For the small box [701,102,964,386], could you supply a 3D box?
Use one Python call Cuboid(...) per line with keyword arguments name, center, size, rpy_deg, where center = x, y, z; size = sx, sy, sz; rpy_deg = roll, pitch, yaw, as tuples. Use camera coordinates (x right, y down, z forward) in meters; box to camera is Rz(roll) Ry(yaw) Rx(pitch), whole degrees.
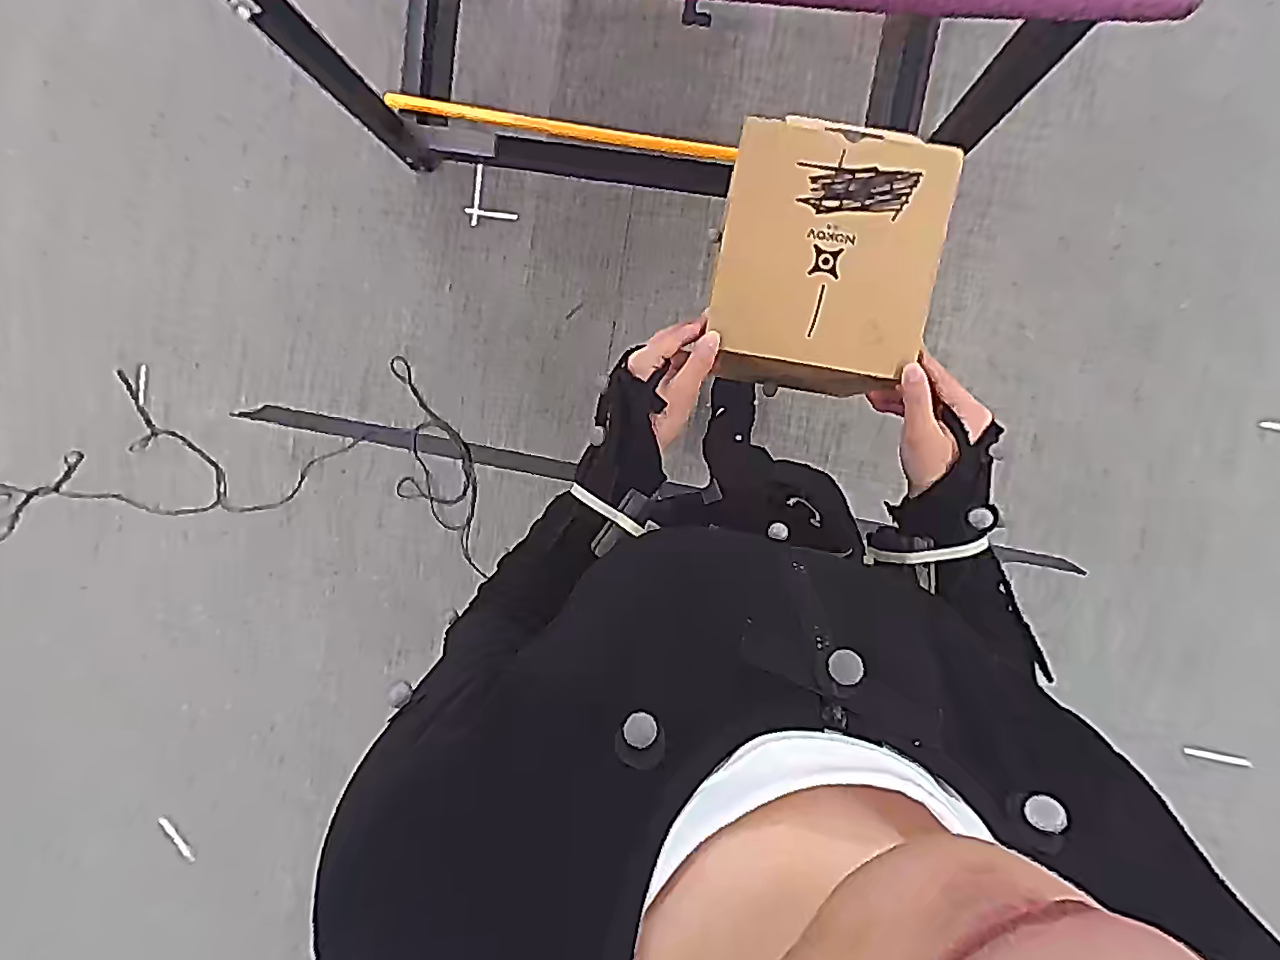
Cuboid(name="small box", center=(0.151, -0.192, 0.490), size=(0.168, 0.176, 0.179), rpy_deg=(11, 95, 3))
